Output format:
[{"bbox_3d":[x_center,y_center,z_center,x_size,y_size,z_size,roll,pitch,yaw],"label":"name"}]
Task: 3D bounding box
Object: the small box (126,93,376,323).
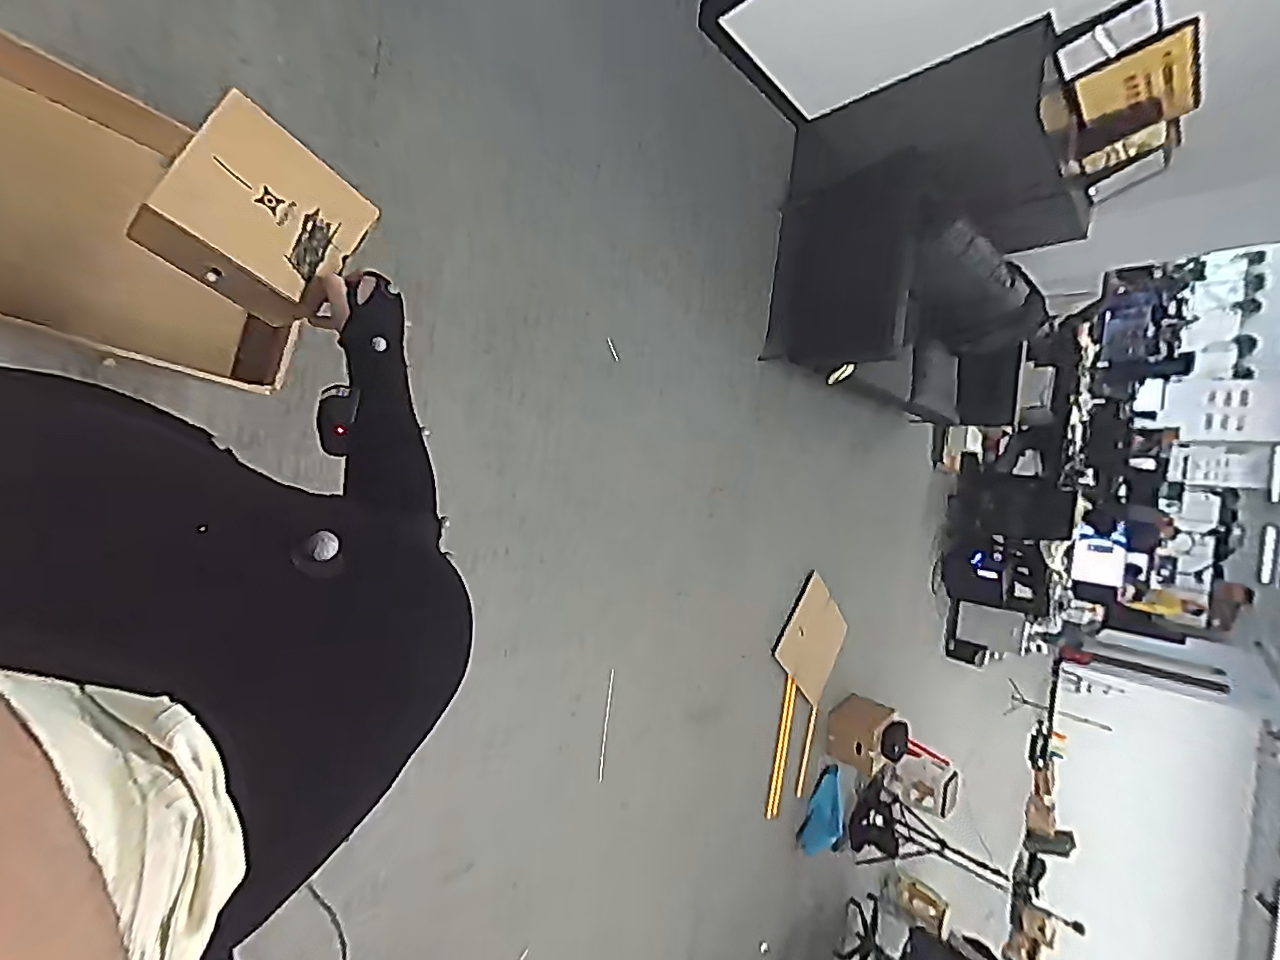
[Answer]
[{"bbox_3d":[-0.471,-0.309,0.659,0.179,0.176,0.168,36,68,-44],"label":"small box"}]
